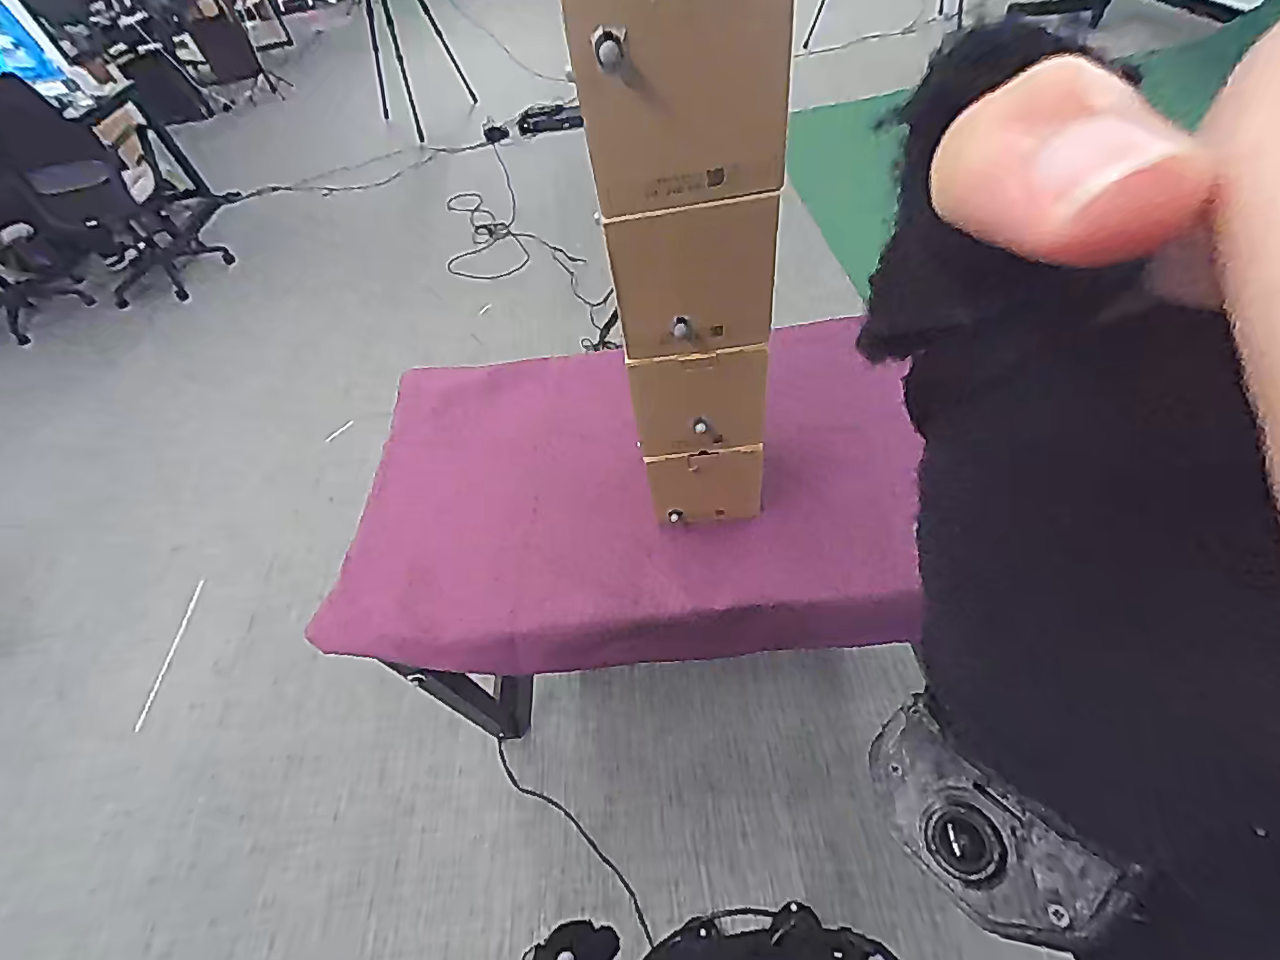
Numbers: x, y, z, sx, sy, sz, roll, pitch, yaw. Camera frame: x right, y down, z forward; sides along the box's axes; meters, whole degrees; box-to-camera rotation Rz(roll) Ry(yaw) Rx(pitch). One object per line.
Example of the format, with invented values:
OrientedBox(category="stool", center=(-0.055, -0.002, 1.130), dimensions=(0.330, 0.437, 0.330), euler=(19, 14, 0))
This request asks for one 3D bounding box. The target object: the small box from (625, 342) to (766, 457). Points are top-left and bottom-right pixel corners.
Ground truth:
OrientedBox(category="small box", center=(0.072, -0.154, 0.737), dimensions=(0.168, 0.176, 0.179), euler=(-7, 52, 5))

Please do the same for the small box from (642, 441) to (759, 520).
OrientedBox(category="small box", center=(0.094, -0.048, 0.860), dimensions=(0.168, 0.176, 0.179), euler=(-6, 51, 5))

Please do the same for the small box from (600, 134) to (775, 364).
OrientedBox(category="small box", center=(0.051, -0.257, 0.613), dimensions=(0.168, 0.176, 0.179), euler=(-7, 52, 5))
